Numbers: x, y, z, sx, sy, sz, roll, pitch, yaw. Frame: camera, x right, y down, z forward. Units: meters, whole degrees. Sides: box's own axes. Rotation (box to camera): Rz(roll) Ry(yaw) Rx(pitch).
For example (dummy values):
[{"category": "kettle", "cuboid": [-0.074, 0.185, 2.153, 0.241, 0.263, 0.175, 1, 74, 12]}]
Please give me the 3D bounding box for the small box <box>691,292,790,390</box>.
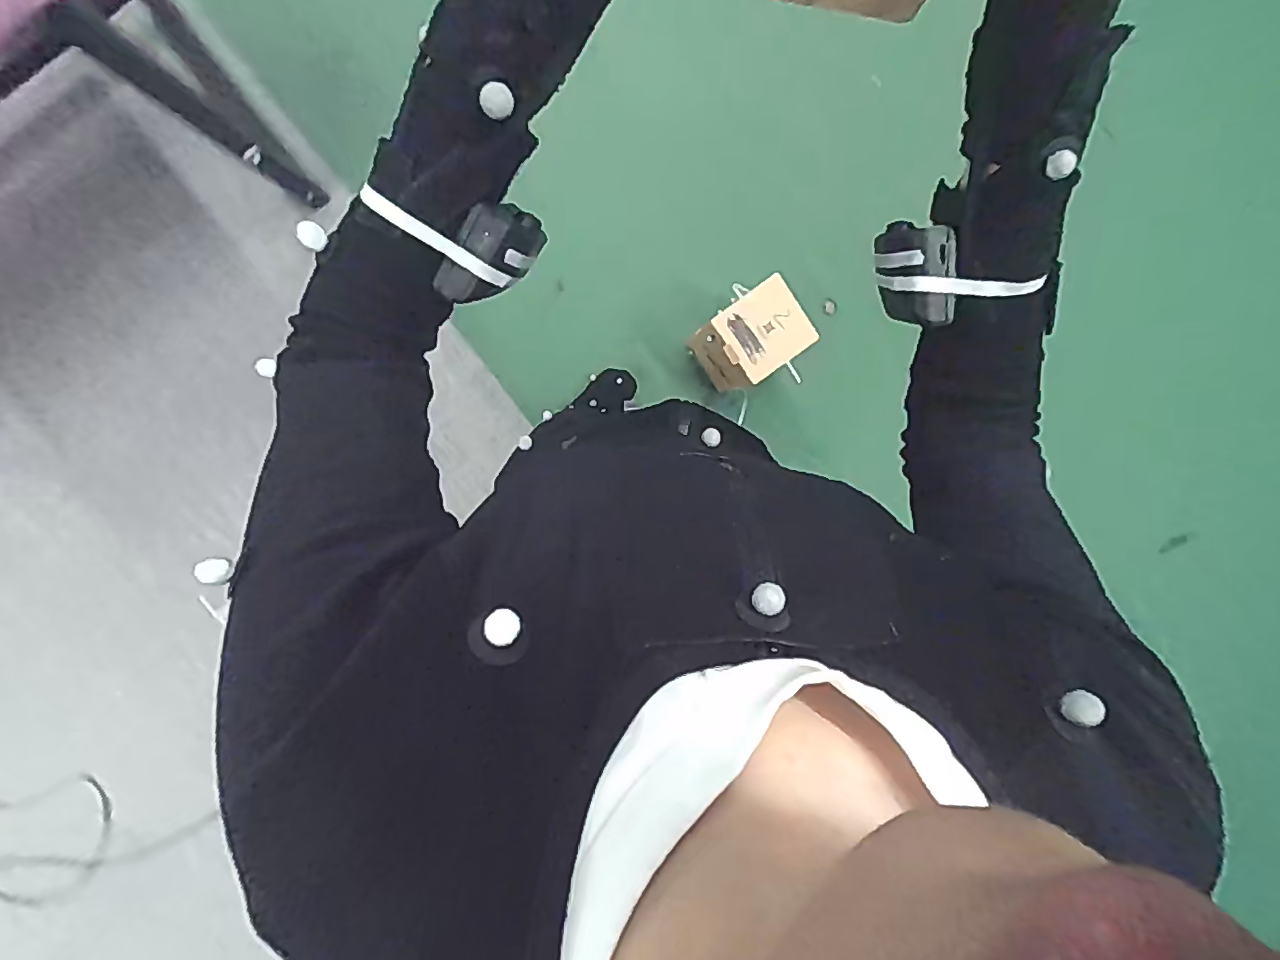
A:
[{"category": "small box", "cuboid": [0.243, -0.342, 1.369, 0.179, 0.176, 0.168, -35, 98, 1]}]
